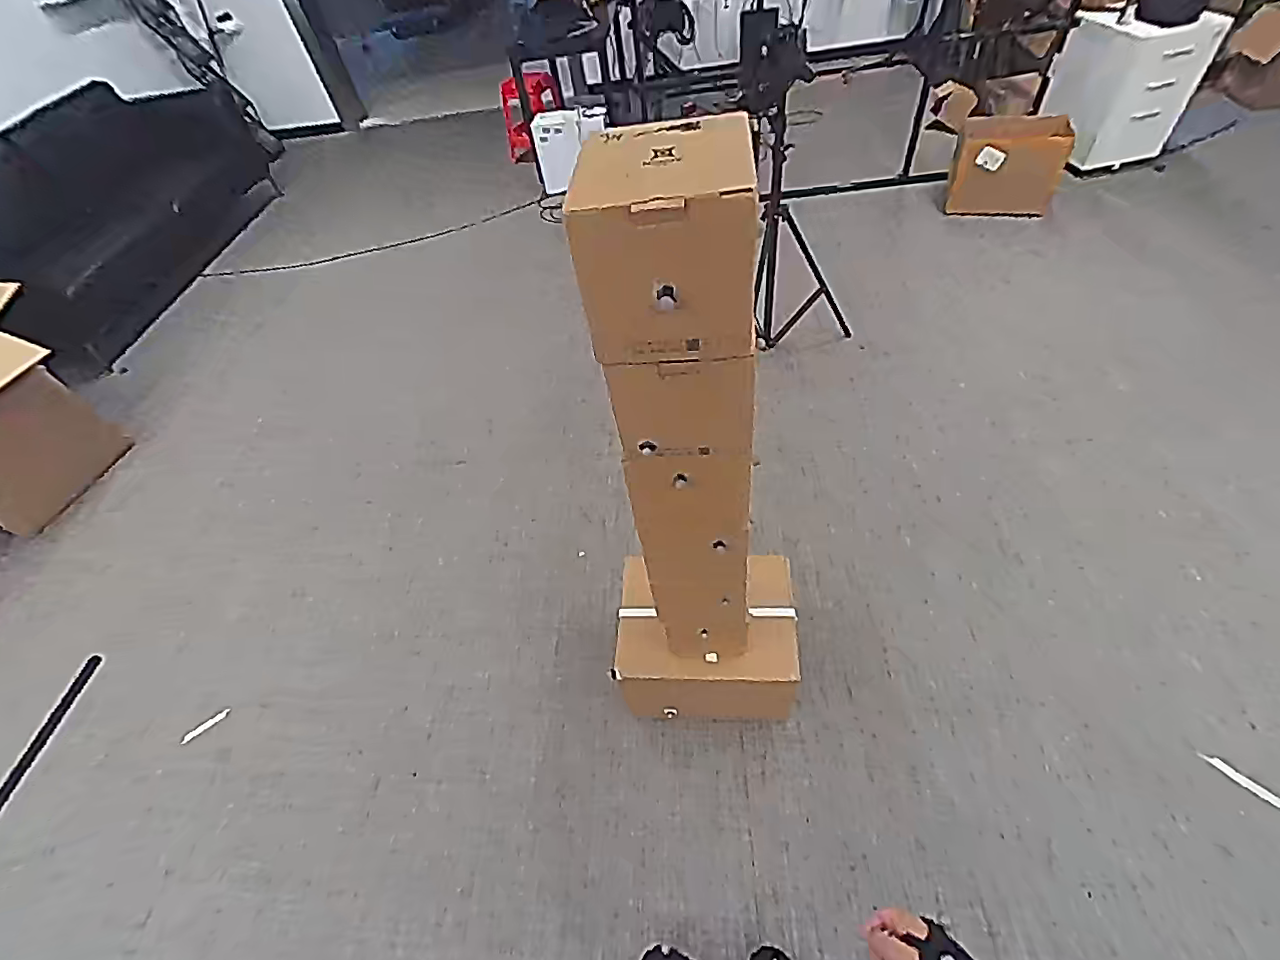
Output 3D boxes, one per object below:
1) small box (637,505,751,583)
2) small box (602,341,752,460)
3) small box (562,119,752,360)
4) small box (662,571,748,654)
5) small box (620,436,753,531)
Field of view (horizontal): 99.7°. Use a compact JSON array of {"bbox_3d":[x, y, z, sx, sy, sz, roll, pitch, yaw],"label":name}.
[{"bbox_3d":[0.098,0.068,0.939,0.179,0.176,0.168,-1,51,9],"label":"small box"},{"bbox_3d":[0.058,-0.138,0.689,0.168,0.176,0.179,-1,51,9],"label":"small box"},{"bbox_3d":[0.030,-0.238,0.563,0.168,0.176,0.179,-1,52,9],"label":"small box"},{"bbox_3d":[0.143,0.275,1.190,0.179,0.176,0.168,-3,52,6],"label":"small box"},{"bbox_3d":[0.077,-0.034,0.816,0.179,0.176,0.168,-1,52,10],"label":"small box"}]
